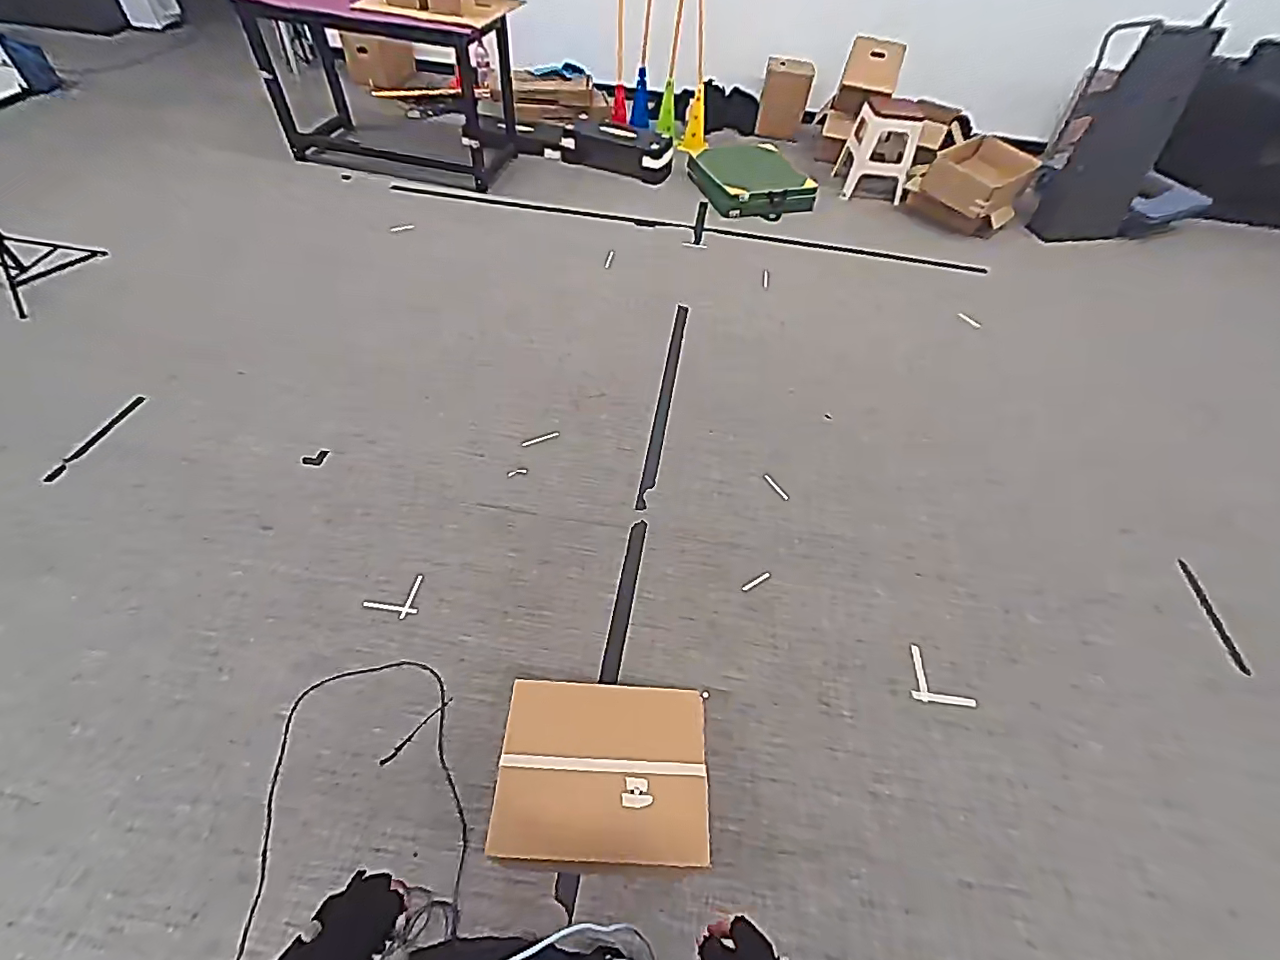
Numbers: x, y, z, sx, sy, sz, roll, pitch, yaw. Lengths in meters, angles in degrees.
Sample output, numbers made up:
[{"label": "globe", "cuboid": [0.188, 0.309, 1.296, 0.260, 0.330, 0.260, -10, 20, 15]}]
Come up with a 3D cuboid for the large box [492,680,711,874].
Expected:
[{"label": "large box", "cuboid": [-0.079, 0.653, 1.179, 0.408, 0.320, 0.320, 5, 51, -3]}]
